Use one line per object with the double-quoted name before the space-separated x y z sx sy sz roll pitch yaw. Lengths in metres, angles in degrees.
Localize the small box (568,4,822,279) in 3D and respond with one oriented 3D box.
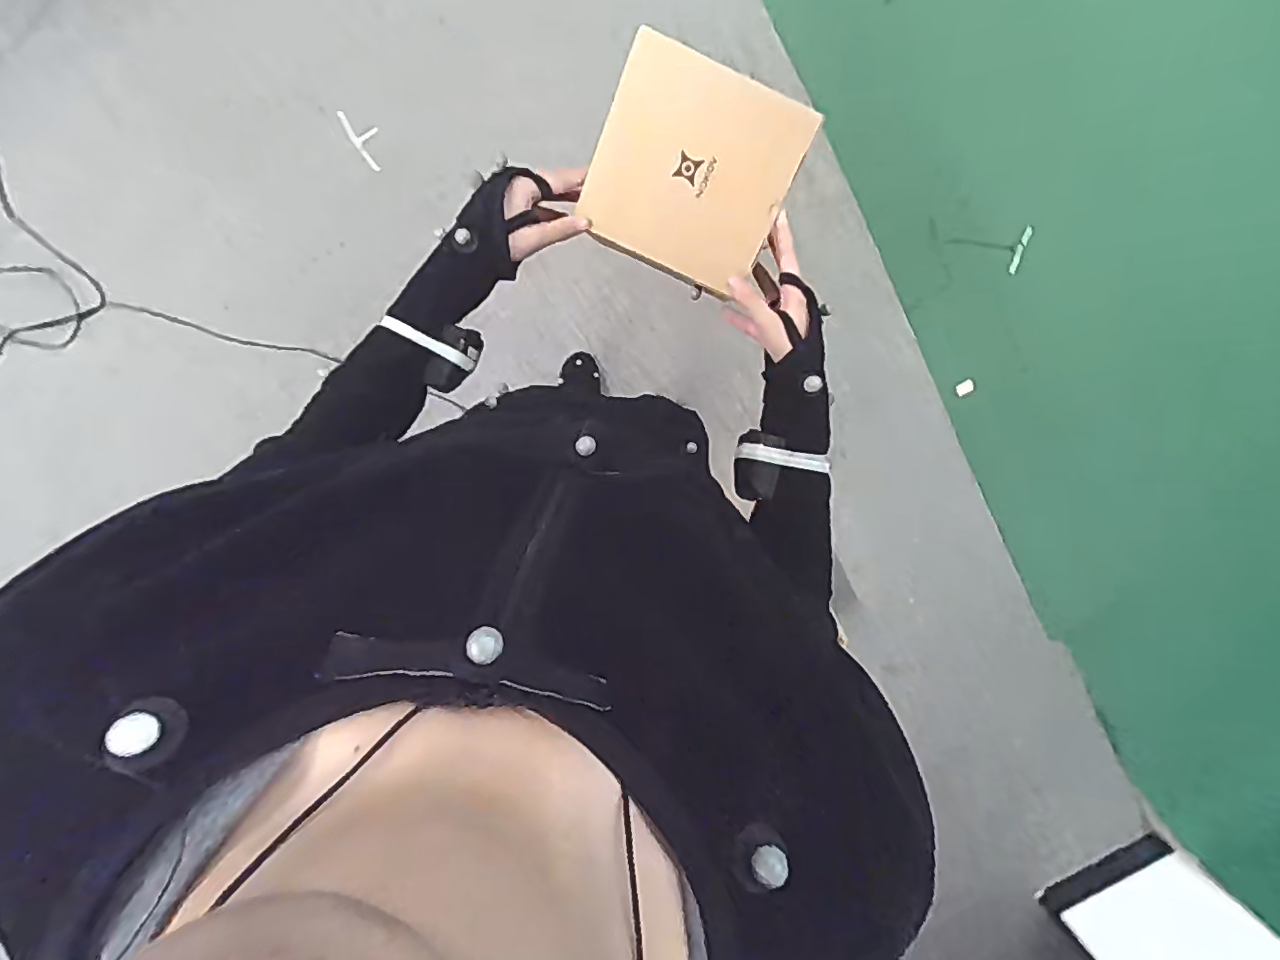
"small box" 0.050 -0.315 0.550 0.179 0.176 0.168 23 109 -3
